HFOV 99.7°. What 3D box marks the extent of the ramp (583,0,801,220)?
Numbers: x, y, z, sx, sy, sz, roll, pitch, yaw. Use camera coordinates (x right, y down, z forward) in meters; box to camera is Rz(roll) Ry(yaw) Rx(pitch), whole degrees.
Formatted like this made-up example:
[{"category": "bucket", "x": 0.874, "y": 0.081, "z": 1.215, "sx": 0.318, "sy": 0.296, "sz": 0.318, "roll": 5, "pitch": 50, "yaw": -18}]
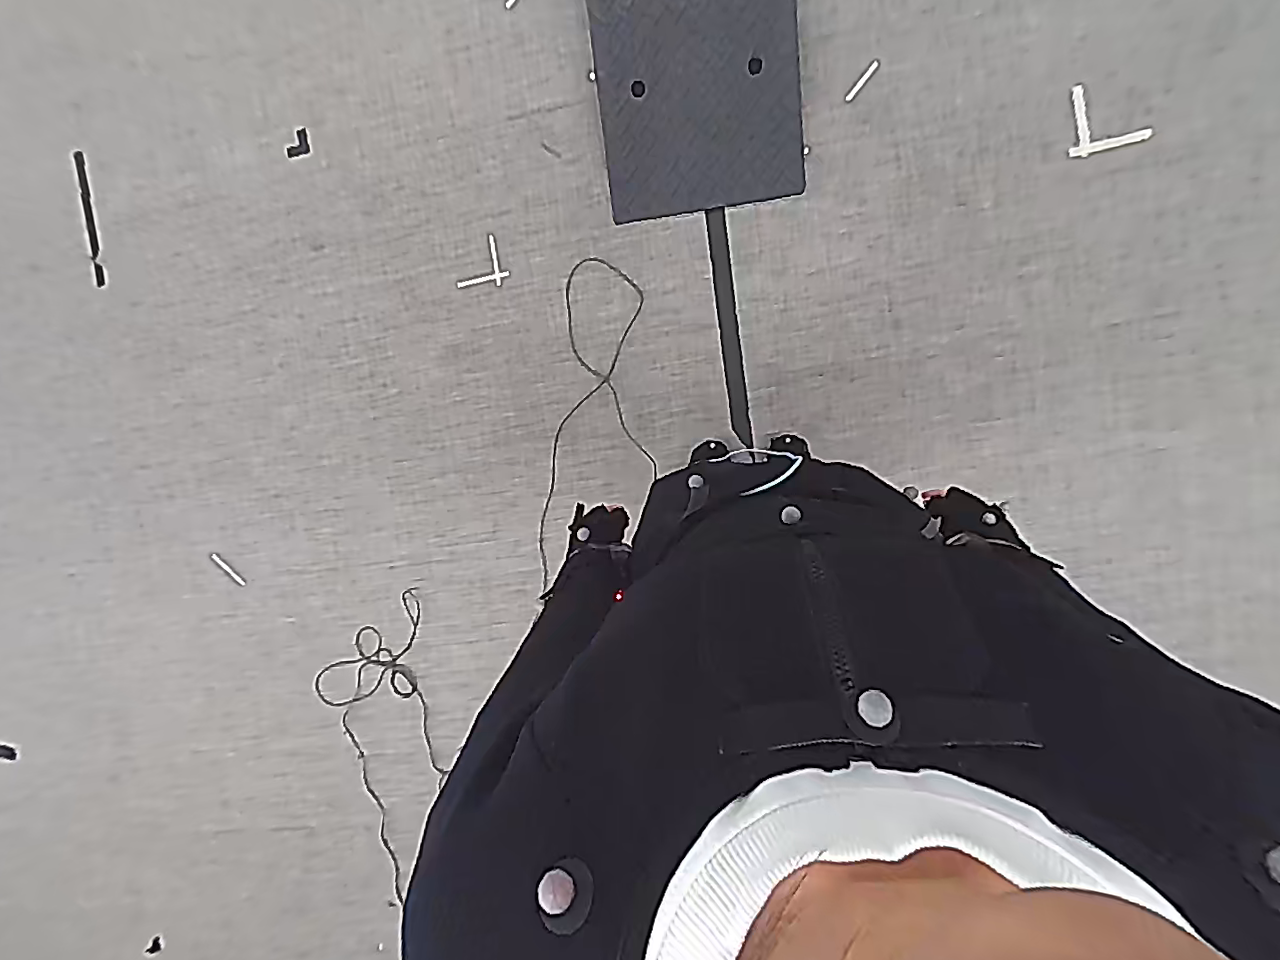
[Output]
[{"category": "ramp", "x": 0.104, "y": -1.183, "z": 1.266, "sx": 0.509, "sy": 0.206, "sz": 0.991, "roll": -7, "pitch": 94, "yaw": 7}]
